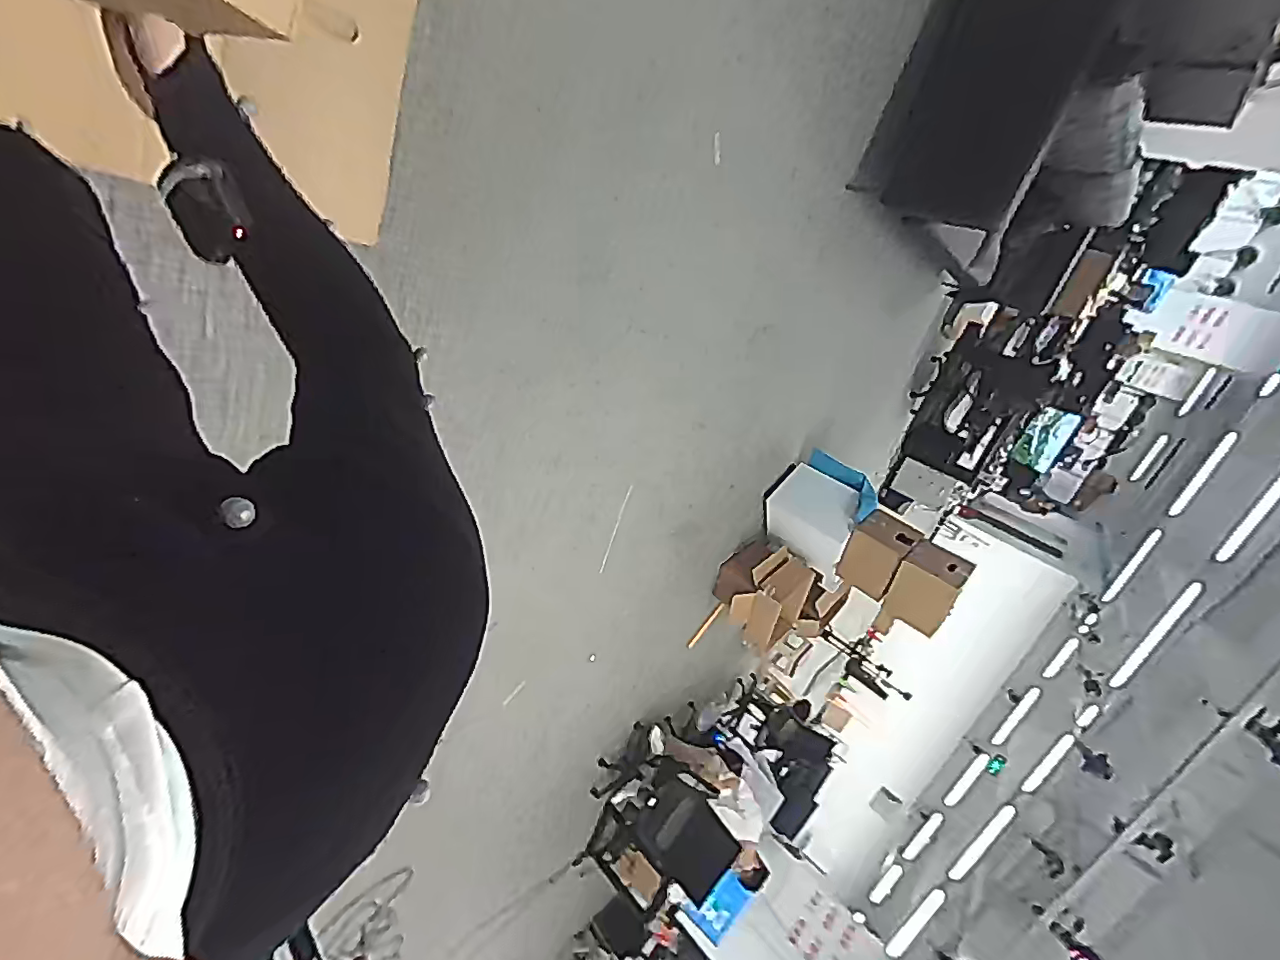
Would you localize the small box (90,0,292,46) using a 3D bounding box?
[{"bbox_3d":[-0.252,-0.316,0.216,0.179,0.176,0.168,4,113,-56],"label":"small box"}]

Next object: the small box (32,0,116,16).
[{"bbox_3d":[-0.490,-0.471,0.381,0.179,0.176,0.168,0,116,-55],"label":"small box"}]
